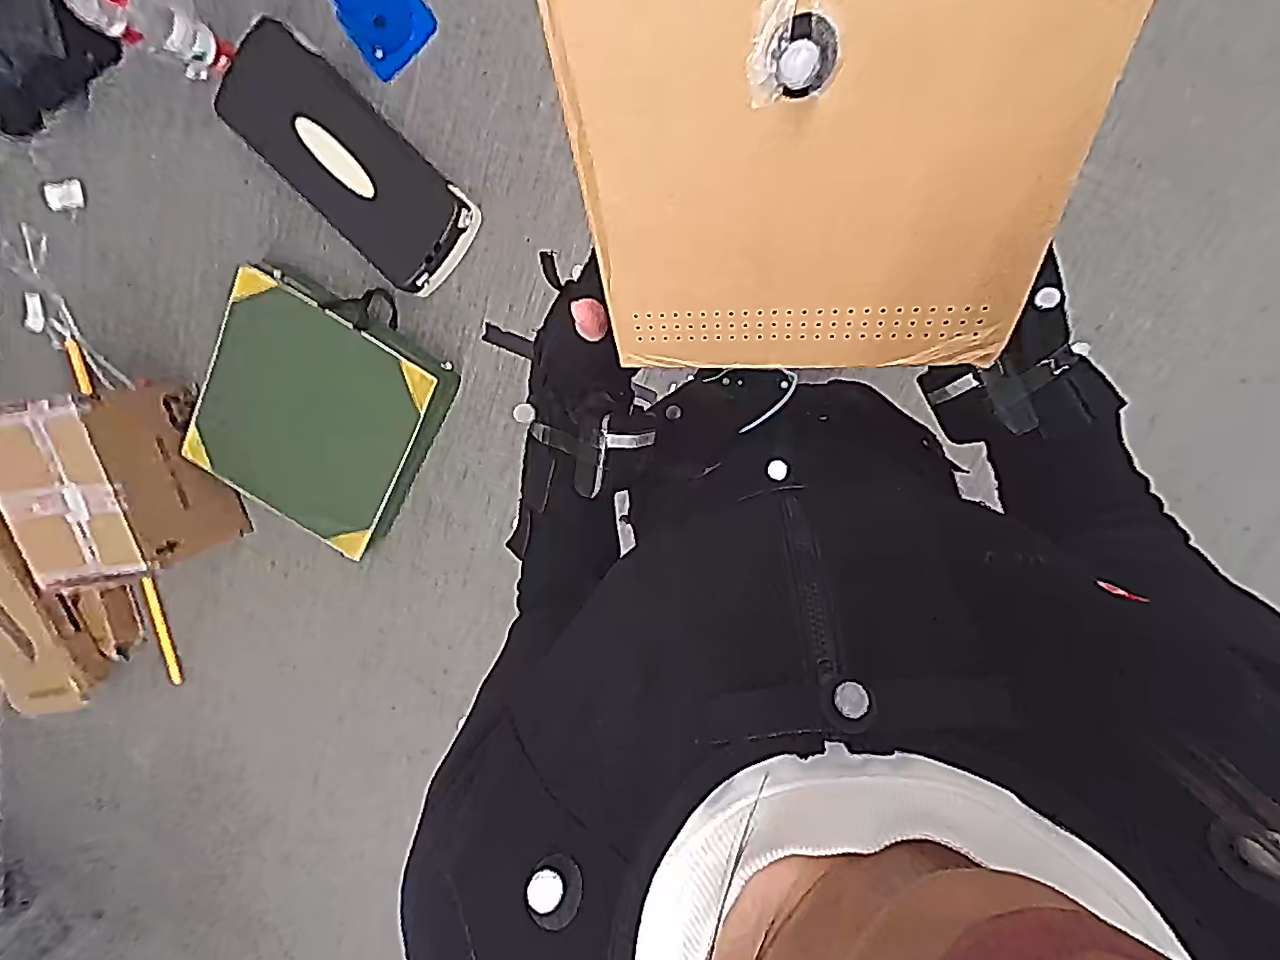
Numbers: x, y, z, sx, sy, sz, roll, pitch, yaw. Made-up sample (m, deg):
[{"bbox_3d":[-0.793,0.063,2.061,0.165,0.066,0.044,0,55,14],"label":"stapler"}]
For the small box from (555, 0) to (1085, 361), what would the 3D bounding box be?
[{"bbox_3d":[0.079,-0.174,0.264,0.179,0.168,0.176,4,141,15],"label":"small box"}]
